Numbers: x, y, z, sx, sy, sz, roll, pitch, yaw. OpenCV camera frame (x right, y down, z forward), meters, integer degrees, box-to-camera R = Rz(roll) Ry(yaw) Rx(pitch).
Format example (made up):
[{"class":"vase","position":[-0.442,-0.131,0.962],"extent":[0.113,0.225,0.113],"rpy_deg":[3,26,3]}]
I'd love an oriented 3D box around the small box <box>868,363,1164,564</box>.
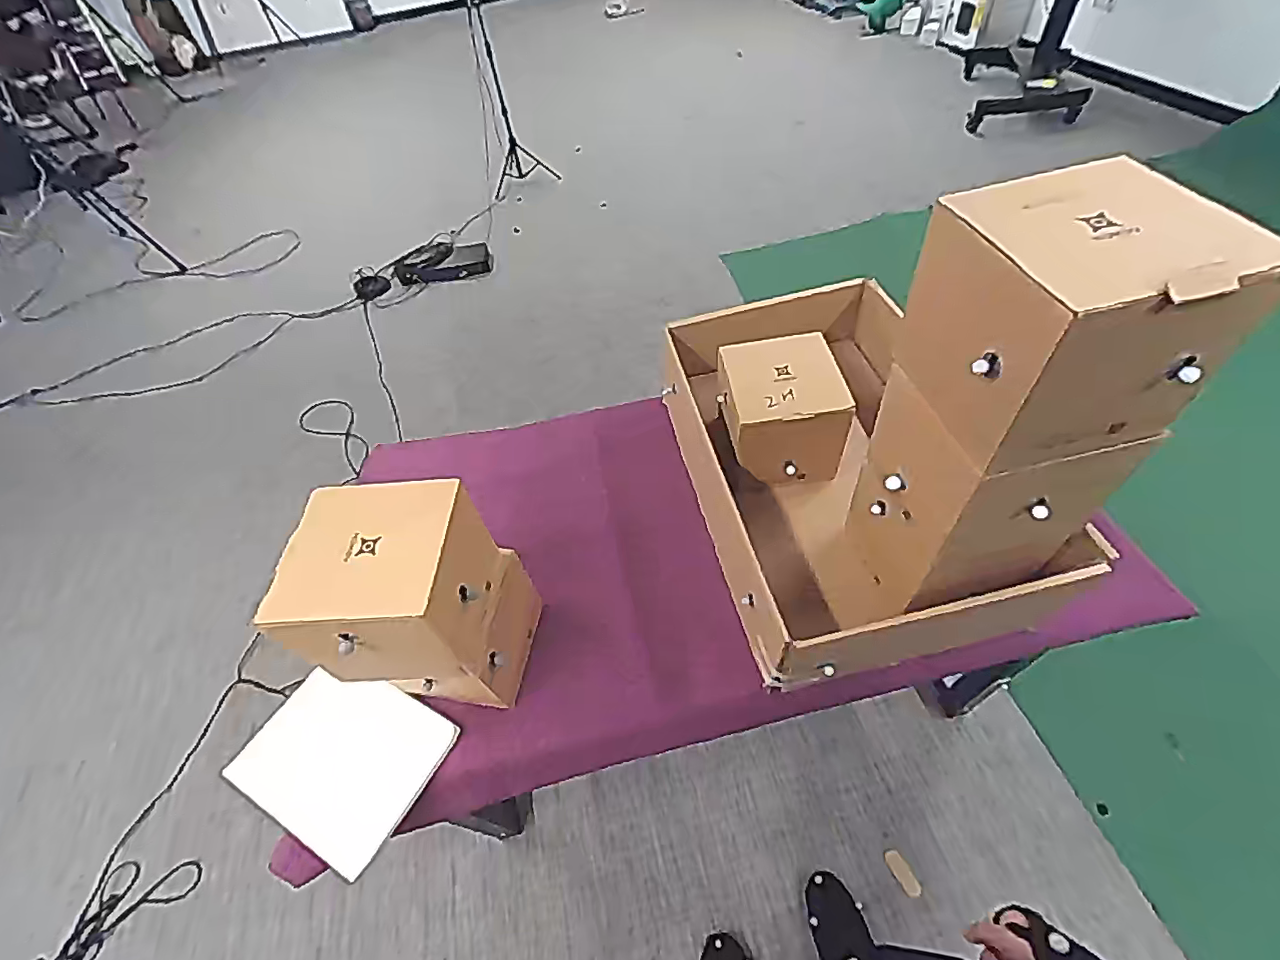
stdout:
[{"class":"small box","position":[0.376,-0.031,0.585],"extent":[0.179,0.176,0.168],"rpy_deg":[-14,51,0]}]

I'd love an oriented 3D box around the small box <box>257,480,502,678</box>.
[{"class":"small box","position":[-0.274,0.119,0.622],"extent":[0.179,0.176,0.168],"rpy_deg":[-4,51,5]}]

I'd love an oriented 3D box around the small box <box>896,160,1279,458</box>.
[{"class":"small box","position":[0.351,-0.136,0.463],"extent":[0.168,0.176,0.179],"rpy_deg":[-12,50,0]}]

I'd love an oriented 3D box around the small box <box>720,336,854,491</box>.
[{"class":"small box","position":[0.224,-0.105,0.877],"extent":[0.168,0.176,0.179],"rpy_deg":[-8,53,2]}]
